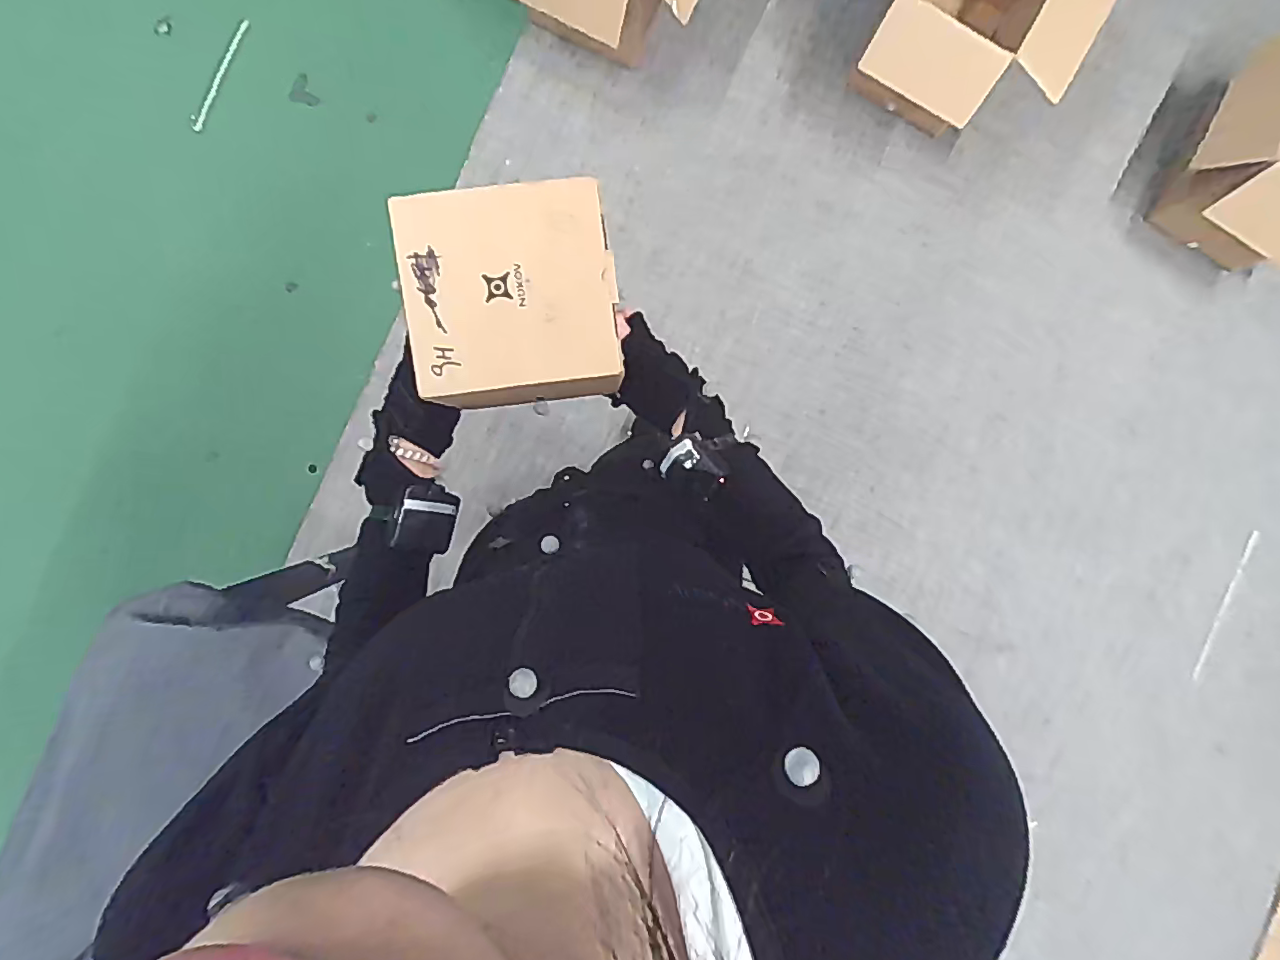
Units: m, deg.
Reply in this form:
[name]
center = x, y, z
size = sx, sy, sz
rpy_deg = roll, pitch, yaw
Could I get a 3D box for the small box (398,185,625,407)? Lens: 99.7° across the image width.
[small box]
center = -0.114, -0.166, 0.538
size = 0.179, 0.176, 0.168
rpy_deg = -7, 93, -4
